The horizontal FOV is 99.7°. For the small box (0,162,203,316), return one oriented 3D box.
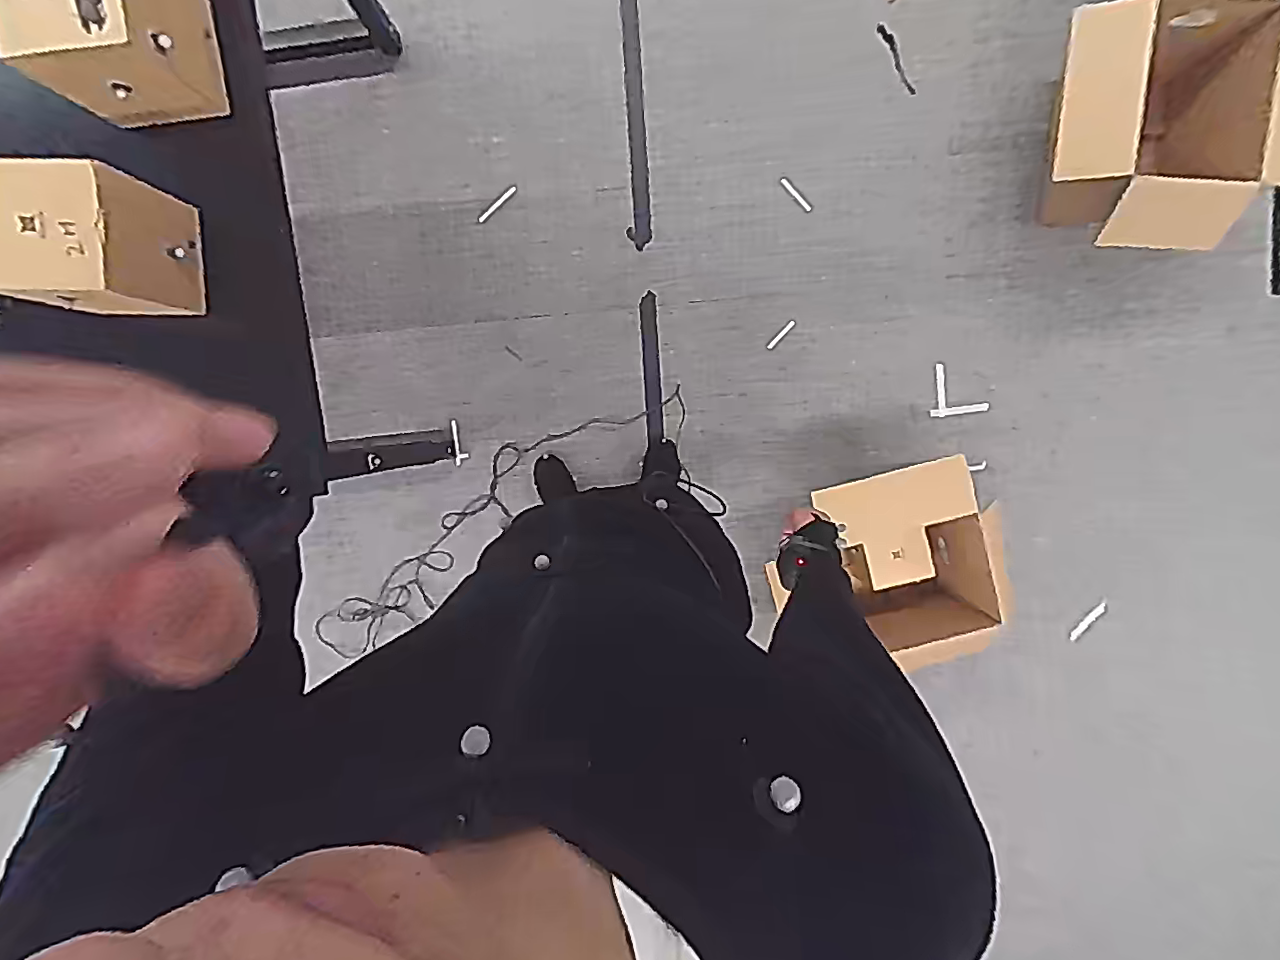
[{"bbox_3d":[-0.789,-0.336,0.784,0.179,0.176,0.168,0,97,0],"label":"small box"}]
